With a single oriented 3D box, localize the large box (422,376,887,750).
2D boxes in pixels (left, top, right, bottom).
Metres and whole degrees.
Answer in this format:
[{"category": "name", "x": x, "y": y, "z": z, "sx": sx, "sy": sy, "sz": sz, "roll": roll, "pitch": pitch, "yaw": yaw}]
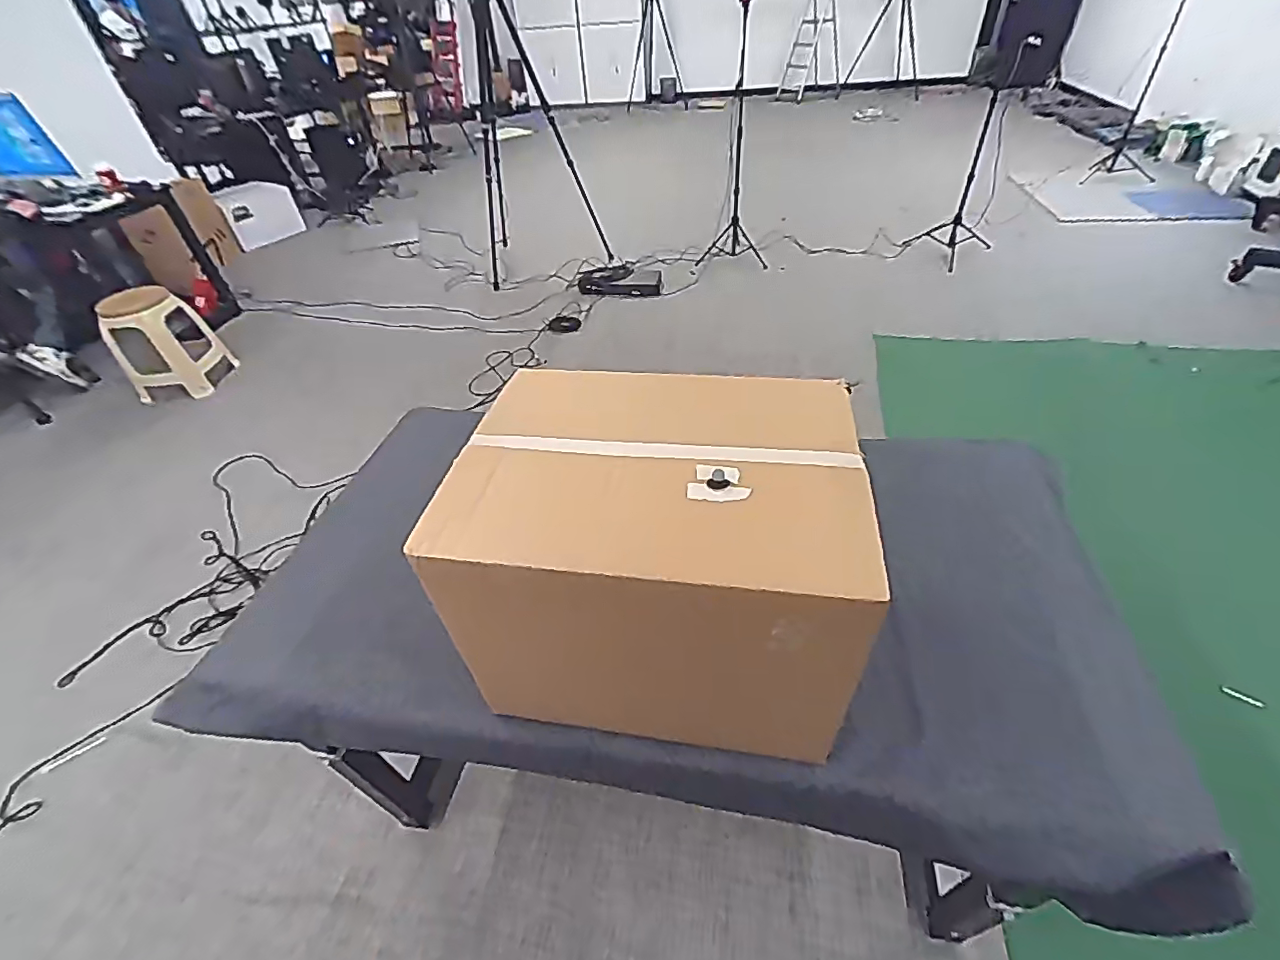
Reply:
[{"category": "large box", "x": 0.028, "y": 0.088, "z": 0.657, "sx": 0.408, "sy": 0.320, "sz": 0.320, "roll": 4, "pitch": 42, "yaw": 9}]
